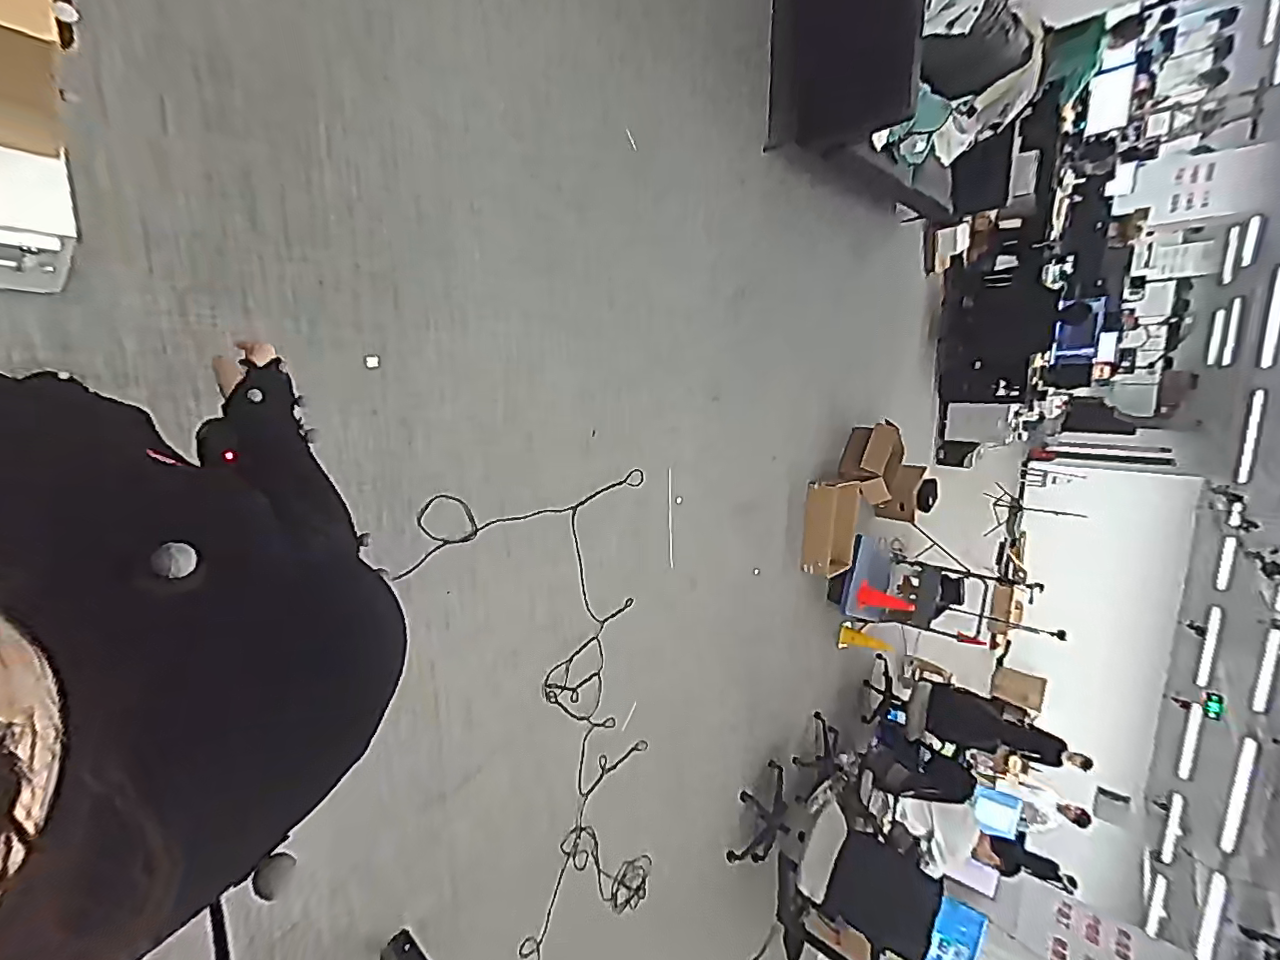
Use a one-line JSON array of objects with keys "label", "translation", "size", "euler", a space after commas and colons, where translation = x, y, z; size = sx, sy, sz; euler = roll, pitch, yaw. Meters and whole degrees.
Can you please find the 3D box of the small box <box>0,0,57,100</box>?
[{"label": "small box", "translation": [-0.540, -0.405, 0.374], "size": [0.179, 0.176, 0.168], "euler": [-7, 102, -47]}]
